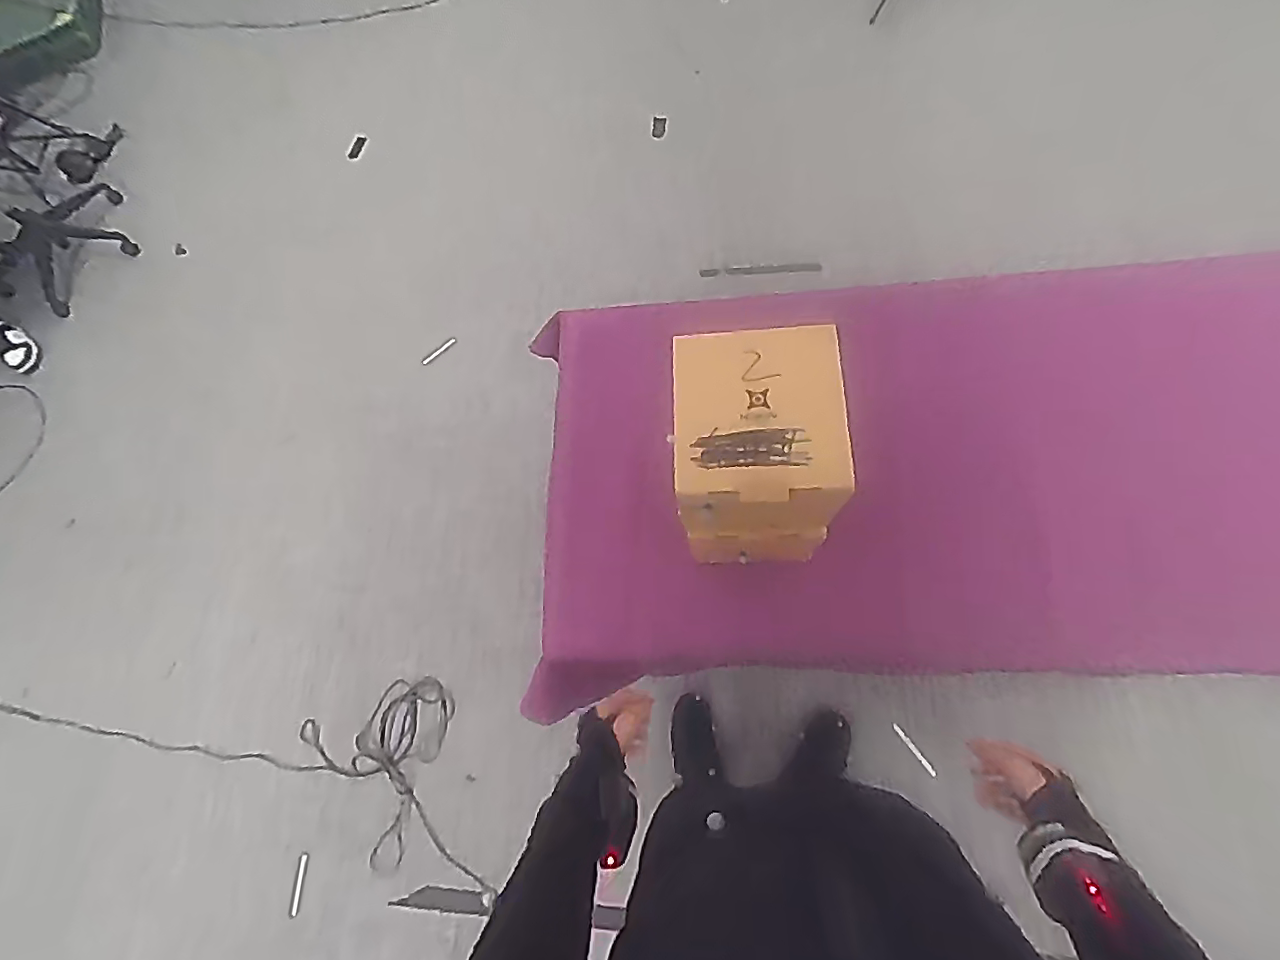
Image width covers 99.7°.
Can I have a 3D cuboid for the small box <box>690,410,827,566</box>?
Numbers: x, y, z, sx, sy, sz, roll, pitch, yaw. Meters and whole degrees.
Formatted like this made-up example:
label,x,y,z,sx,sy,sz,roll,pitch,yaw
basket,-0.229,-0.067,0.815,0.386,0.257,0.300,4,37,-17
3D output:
label,x,y,z,sx,sy,sz,roll,pitch,yaw
small box,0.155,0.018,0.752,0.168,0.176,0.179,-2,72,8
